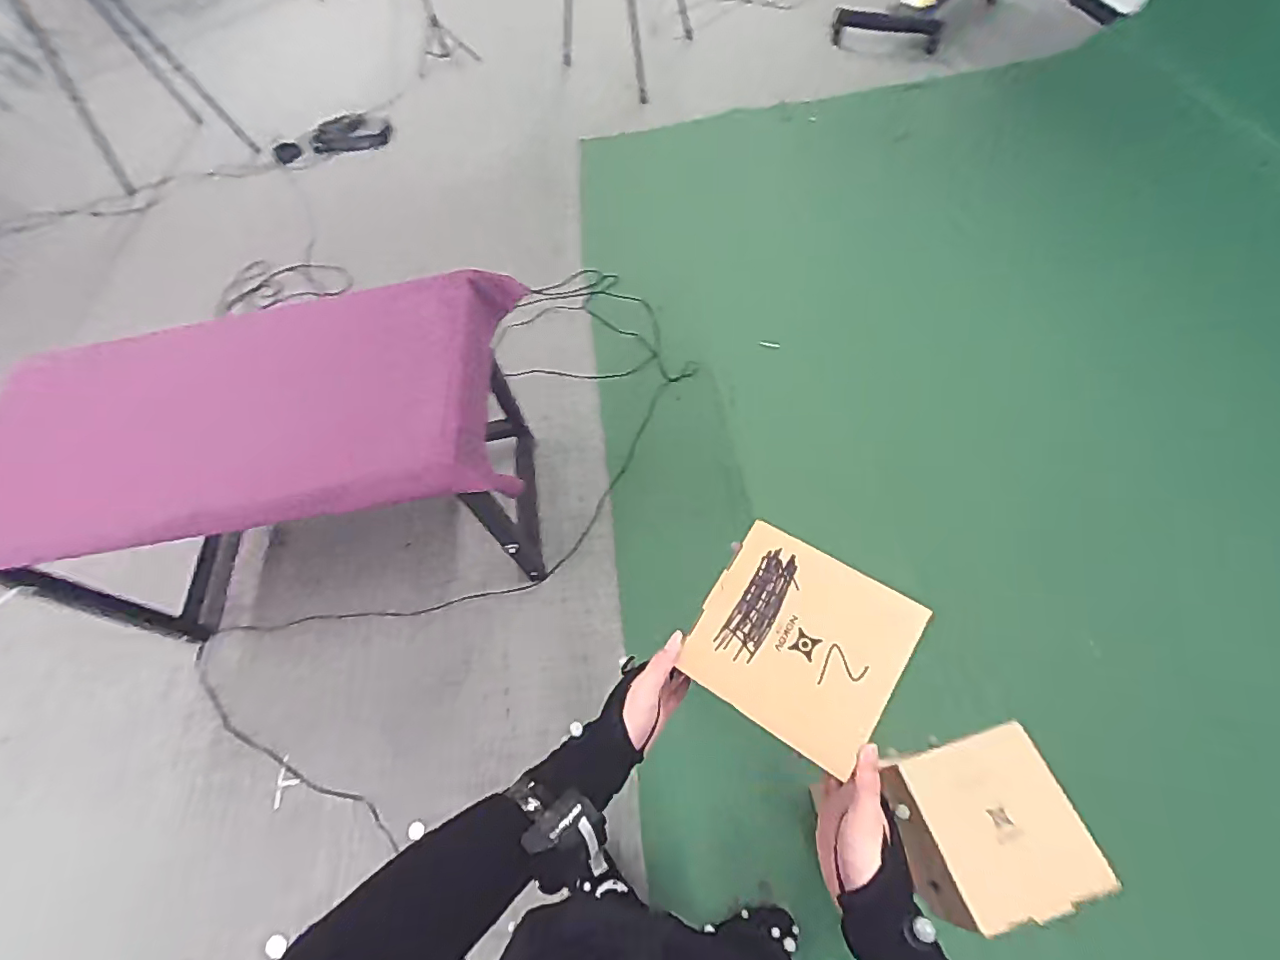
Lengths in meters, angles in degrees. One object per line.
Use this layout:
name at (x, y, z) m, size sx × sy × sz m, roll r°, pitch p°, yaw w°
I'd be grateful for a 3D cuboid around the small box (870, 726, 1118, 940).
small box at (0.422, 0.435, 0.684) m, size 0.168 × 0.176 × 0.179 m, roll -16°, pitch 57°, yaw -3°

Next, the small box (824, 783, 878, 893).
small box at (0.487, 0.703, 1.090) m, size 0.168 × 0.176 × 0.179 m, roll -11°, pitch 57°, yaw 2°

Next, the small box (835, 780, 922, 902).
small box at (0.464, 0.613, 0.955) m, size 0.168 × 0.176 × 0.179 m, roll -13°, pitch 58°, yaw 1°

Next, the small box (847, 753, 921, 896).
small box at (0.431, 0.518, 0.826) m, size 0.179 × 0.176 × 0.168 m, roll -10°, pitch 58°, yaw 3°

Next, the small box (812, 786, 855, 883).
small box at (0.506, 0.785, 1.228) m, size 0.168 × 0.176 × 0.179 m, roll -12°, pitch 58°, yaw 0°
